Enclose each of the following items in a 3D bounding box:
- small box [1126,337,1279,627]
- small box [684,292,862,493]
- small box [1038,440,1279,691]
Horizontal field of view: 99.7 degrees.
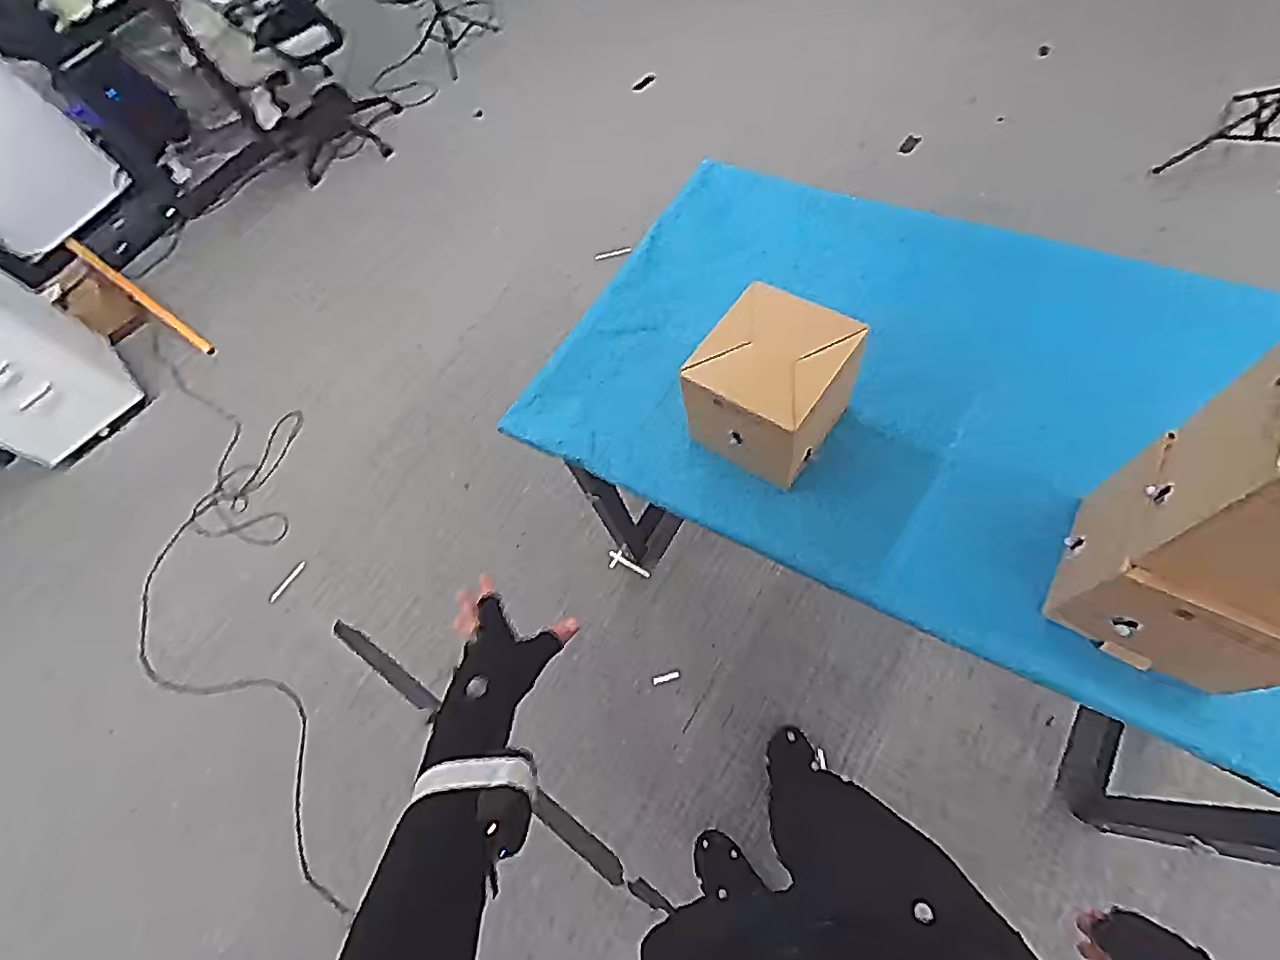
[{"bbox_3d":[0.538,0.010,0.413,0.179,0.176,0.168,27,70,25],"label":"small box"},{"bbox_3d":[0.176,-0.119,0.736,0.168,0.176,0.179,32,74,23],"label":"small box"},{"bbox_3d":[0.559,0.087,0.556,0.168,0.176,0.179,26,70,22],"label":"small box"}]
